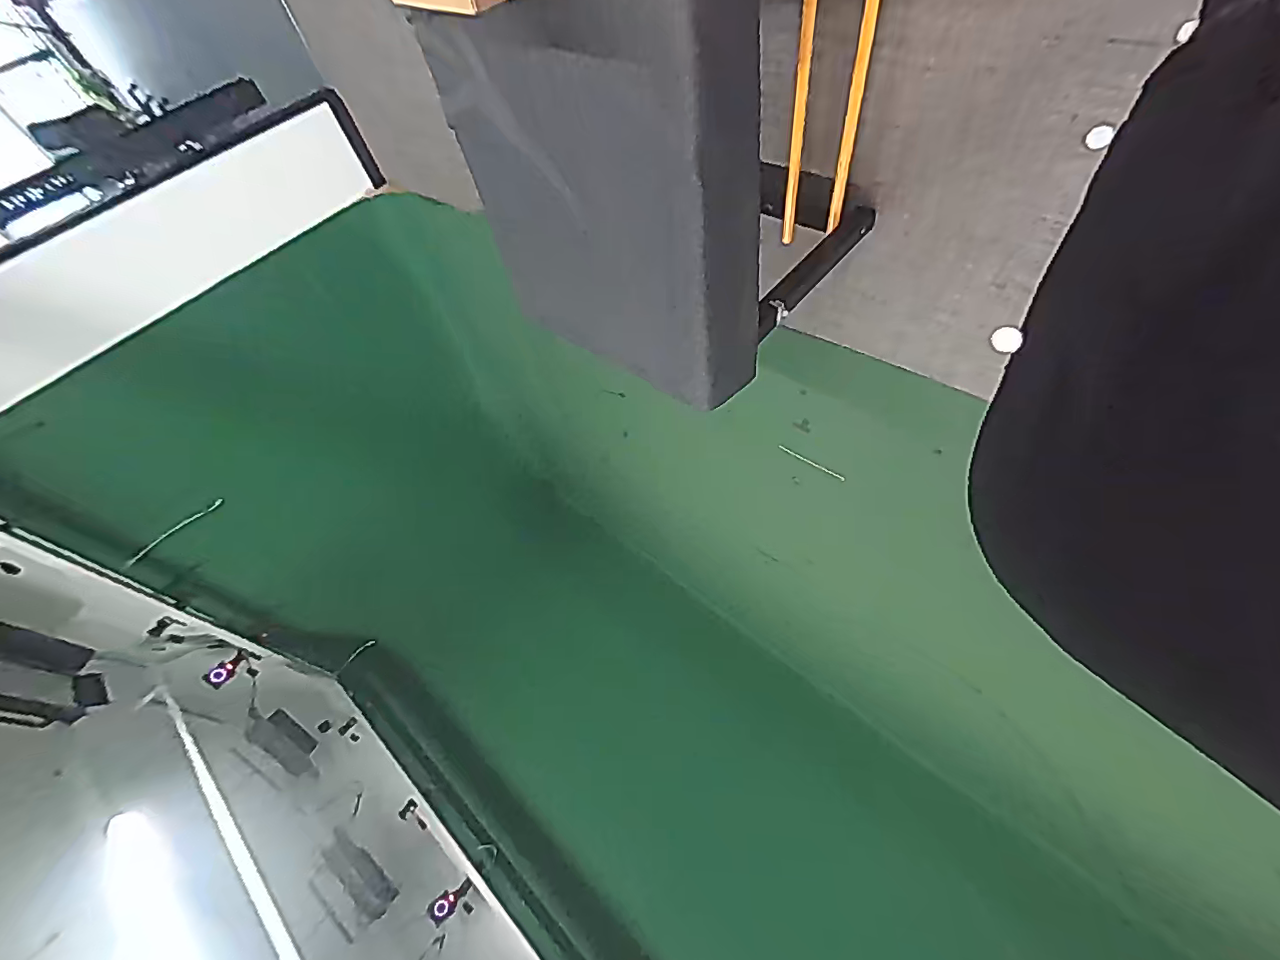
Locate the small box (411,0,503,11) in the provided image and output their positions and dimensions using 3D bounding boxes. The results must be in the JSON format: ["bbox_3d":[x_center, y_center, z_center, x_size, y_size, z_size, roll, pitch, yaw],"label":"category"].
[{"bbox_3d":[-0.197,-0.660,0.598,0.179,0.176,0.168,34,157,28],"label":"small box"}]
